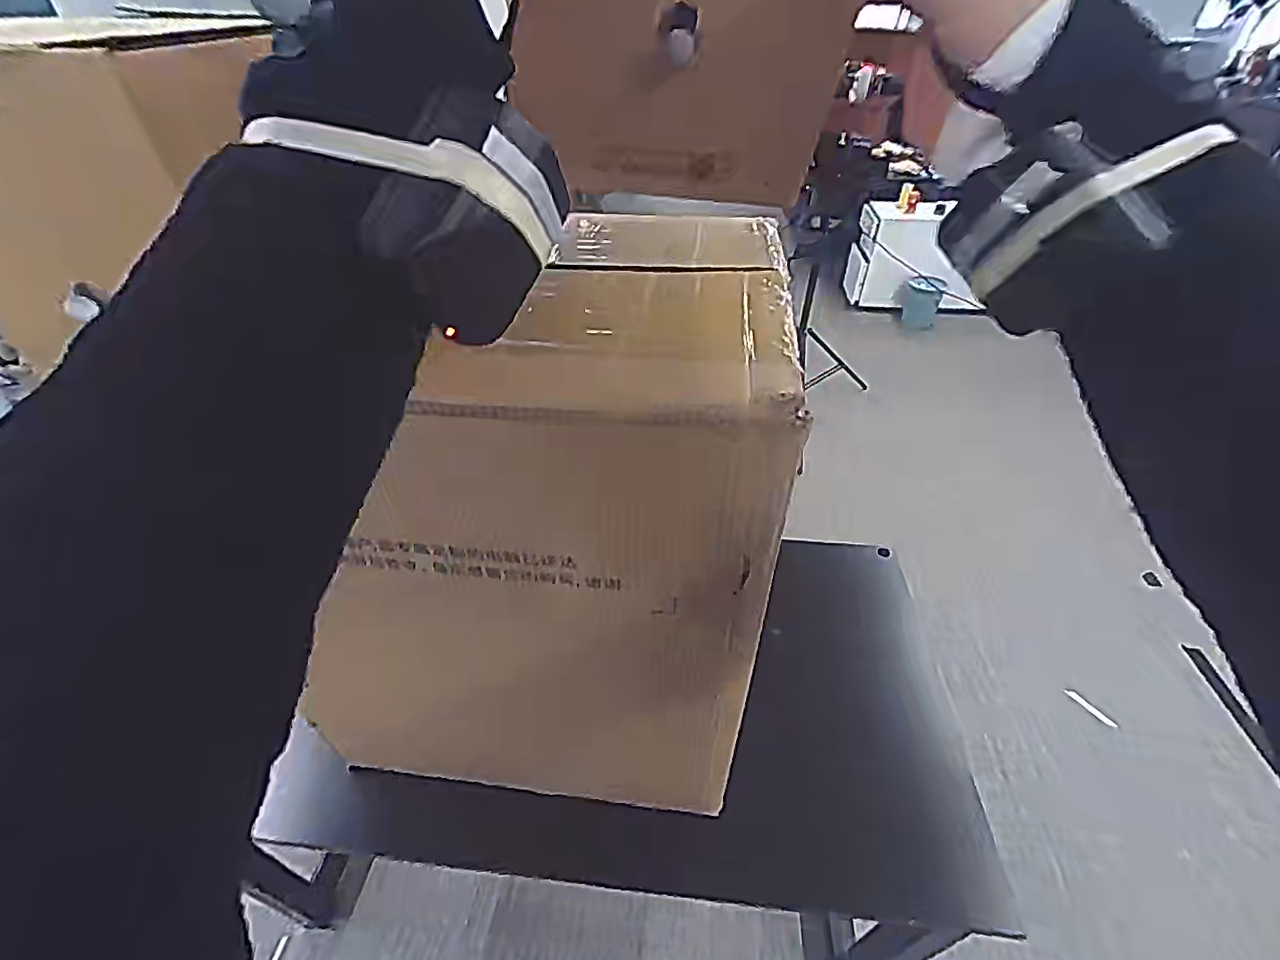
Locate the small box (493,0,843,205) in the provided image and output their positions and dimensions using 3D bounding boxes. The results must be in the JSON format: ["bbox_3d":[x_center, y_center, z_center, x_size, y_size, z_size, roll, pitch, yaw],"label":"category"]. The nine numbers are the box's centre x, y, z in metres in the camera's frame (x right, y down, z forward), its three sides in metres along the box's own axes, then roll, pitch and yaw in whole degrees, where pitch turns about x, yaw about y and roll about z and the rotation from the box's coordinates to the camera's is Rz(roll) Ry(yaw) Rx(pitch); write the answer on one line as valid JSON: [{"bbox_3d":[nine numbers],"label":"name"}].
[{"bbox_3d":[0.014,-0.279,0.299,0.168,0.176,0.179,3,57,-4],"label":"small box"}]
